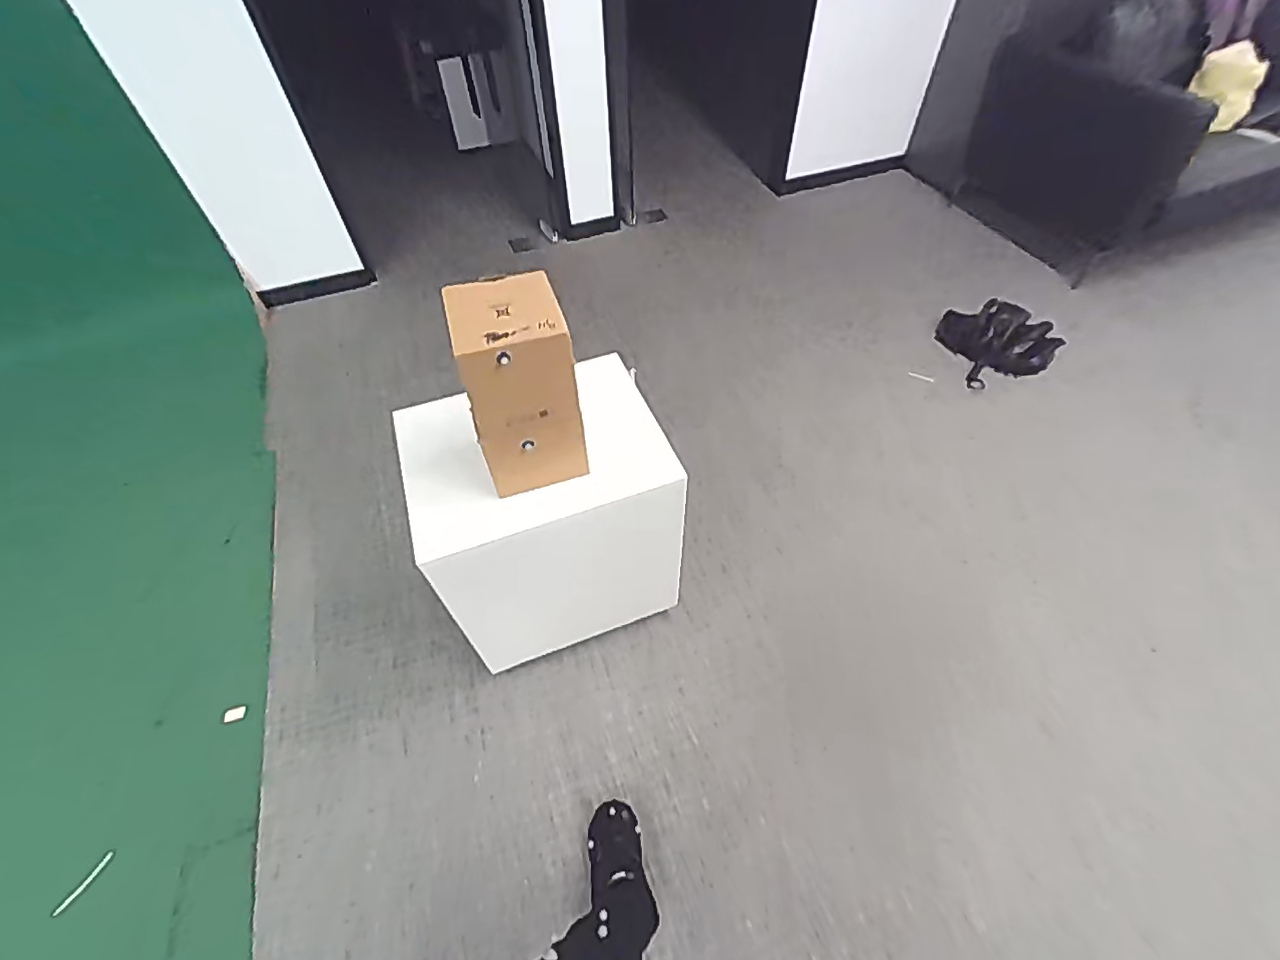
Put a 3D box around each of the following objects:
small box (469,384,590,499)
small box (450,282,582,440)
[{"bbox_3d":[-0.201,-0.088,1.008,0.179,0.176,0.168,-16,52,-11],"label":"small box"},{"bbox_3d":[-0.199,-0.194,0.886,0.168,0.176,0.179,-16,53,-13],"label":"small box"}]
